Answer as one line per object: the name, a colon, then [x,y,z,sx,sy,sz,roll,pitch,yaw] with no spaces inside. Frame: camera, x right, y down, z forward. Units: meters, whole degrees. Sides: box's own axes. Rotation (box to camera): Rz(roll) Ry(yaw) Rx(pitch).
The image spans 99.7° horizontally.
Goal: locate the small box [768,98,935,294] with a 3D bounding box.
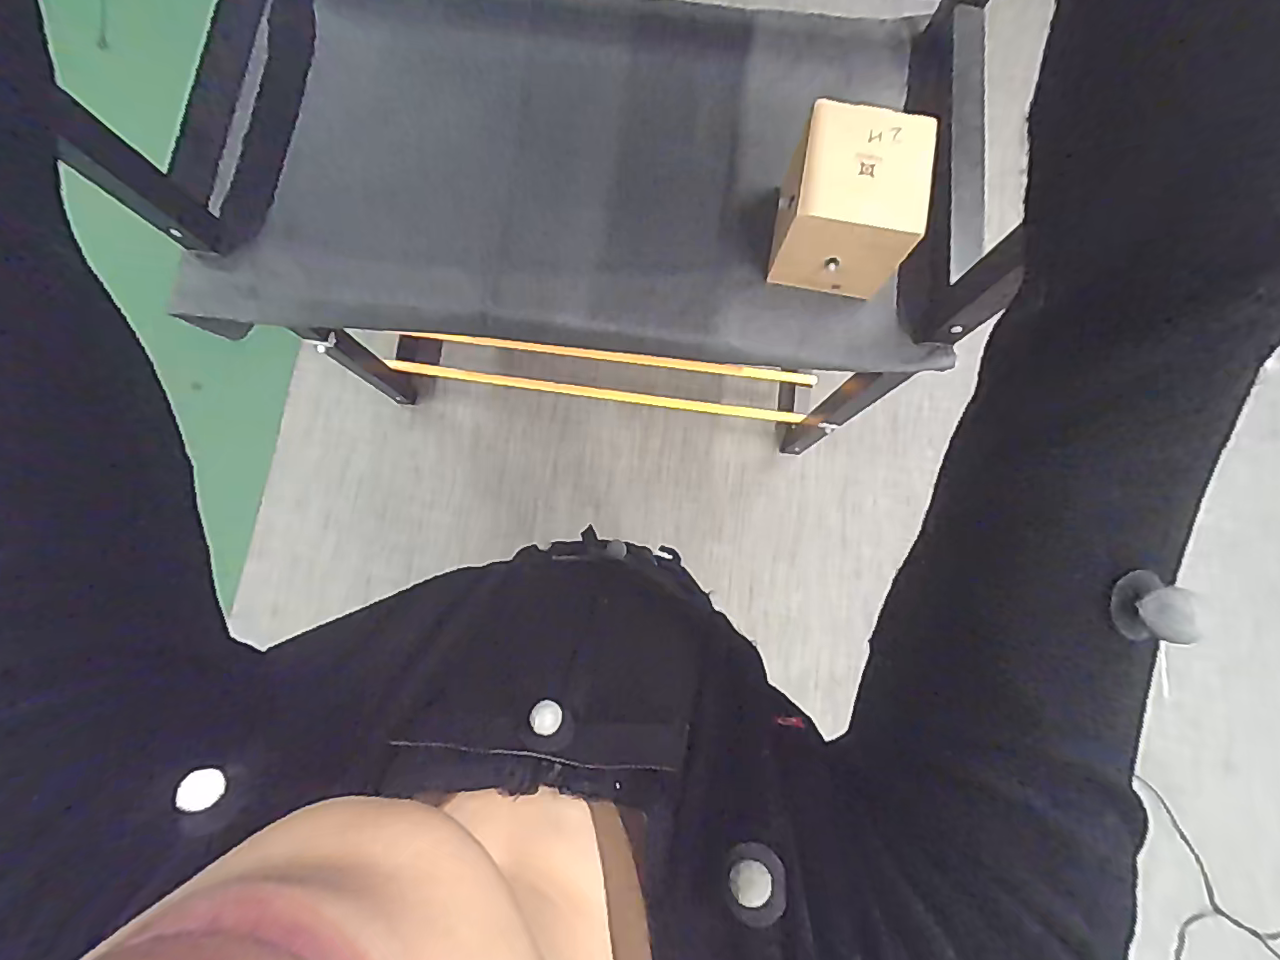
small box: [0.291,-0.395,0.778,0.168,0.176,0.179,11,80,1]
